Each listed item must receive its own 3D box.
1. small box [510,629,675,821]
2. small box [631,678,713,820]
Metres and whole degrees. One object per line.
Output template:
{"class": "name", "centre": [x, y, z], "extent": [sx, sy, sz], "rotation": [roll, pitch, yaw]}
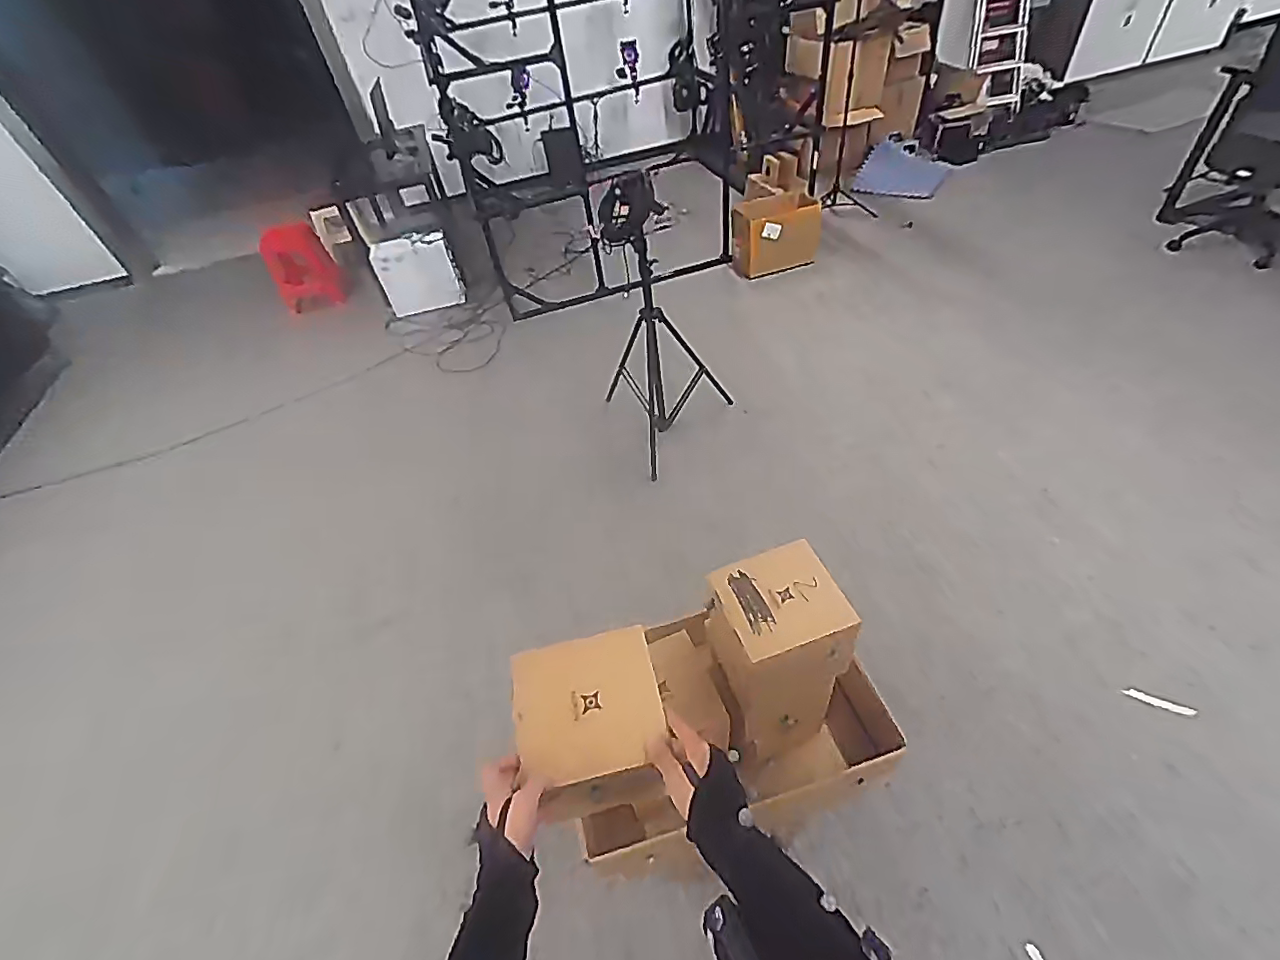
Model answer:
{"class": "small box", "centre": [-0.059, 0.320, 0.703], "extent": [0.179, 0.176, 0.168], "rotation": [-13, 50, -6]}
{"class": "small box", "centre": [0.036, 0.535, 1.075], "extent": [0.168, 0.176, 0.179], "rotation": [-20, 46, -10]}
